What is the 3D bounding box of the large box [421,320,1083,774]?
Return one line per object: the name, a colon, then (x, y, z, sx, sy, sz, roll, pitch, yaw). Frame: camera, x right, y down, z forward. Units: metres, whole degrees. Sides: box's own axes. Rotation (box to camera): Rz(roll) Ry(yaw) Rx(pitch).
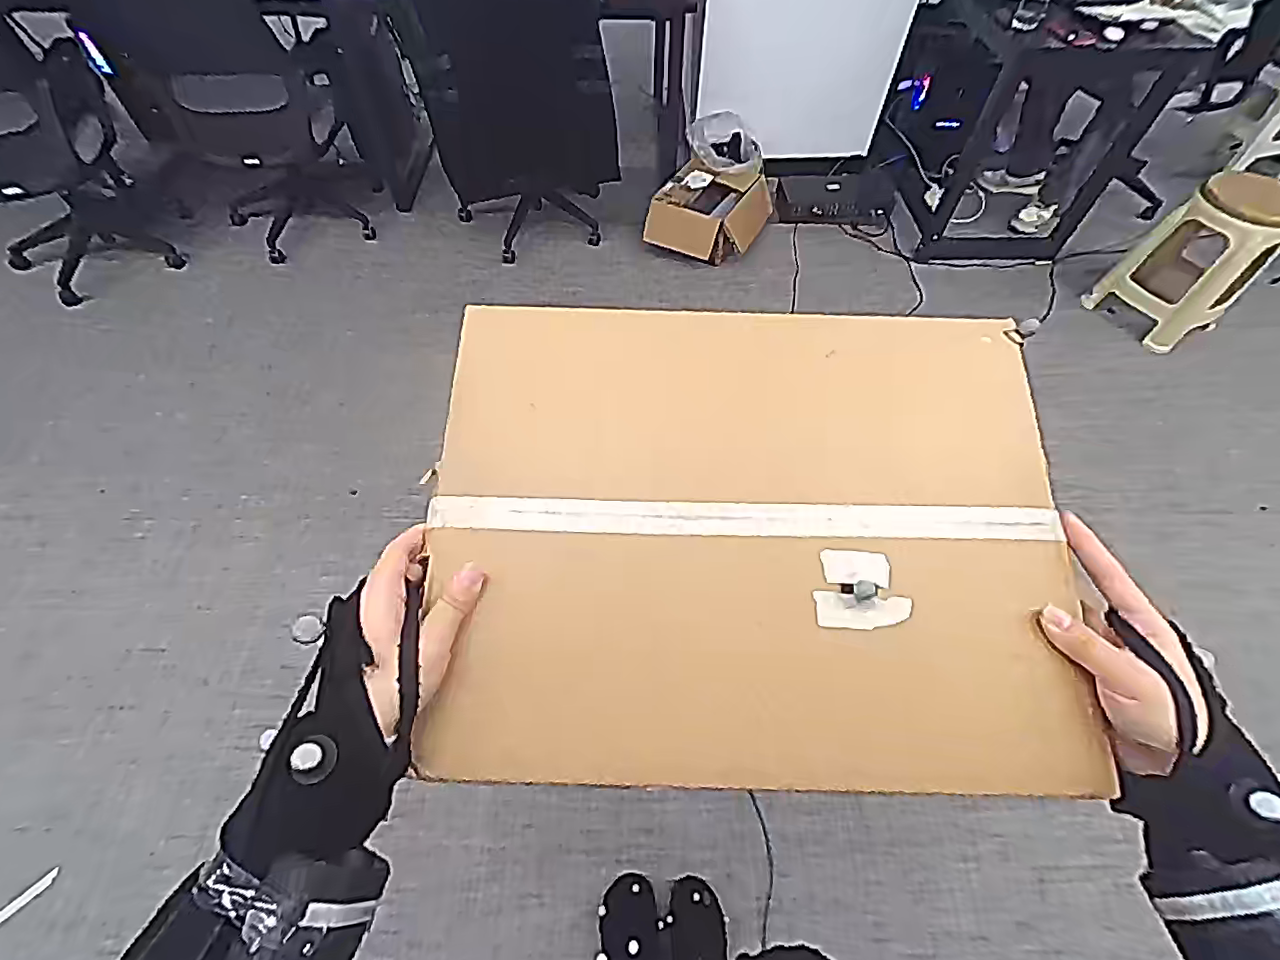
large box: (0.065, 0.072, 0.506, 0.408, 0.320, 0.320, 1, 73, 0)
